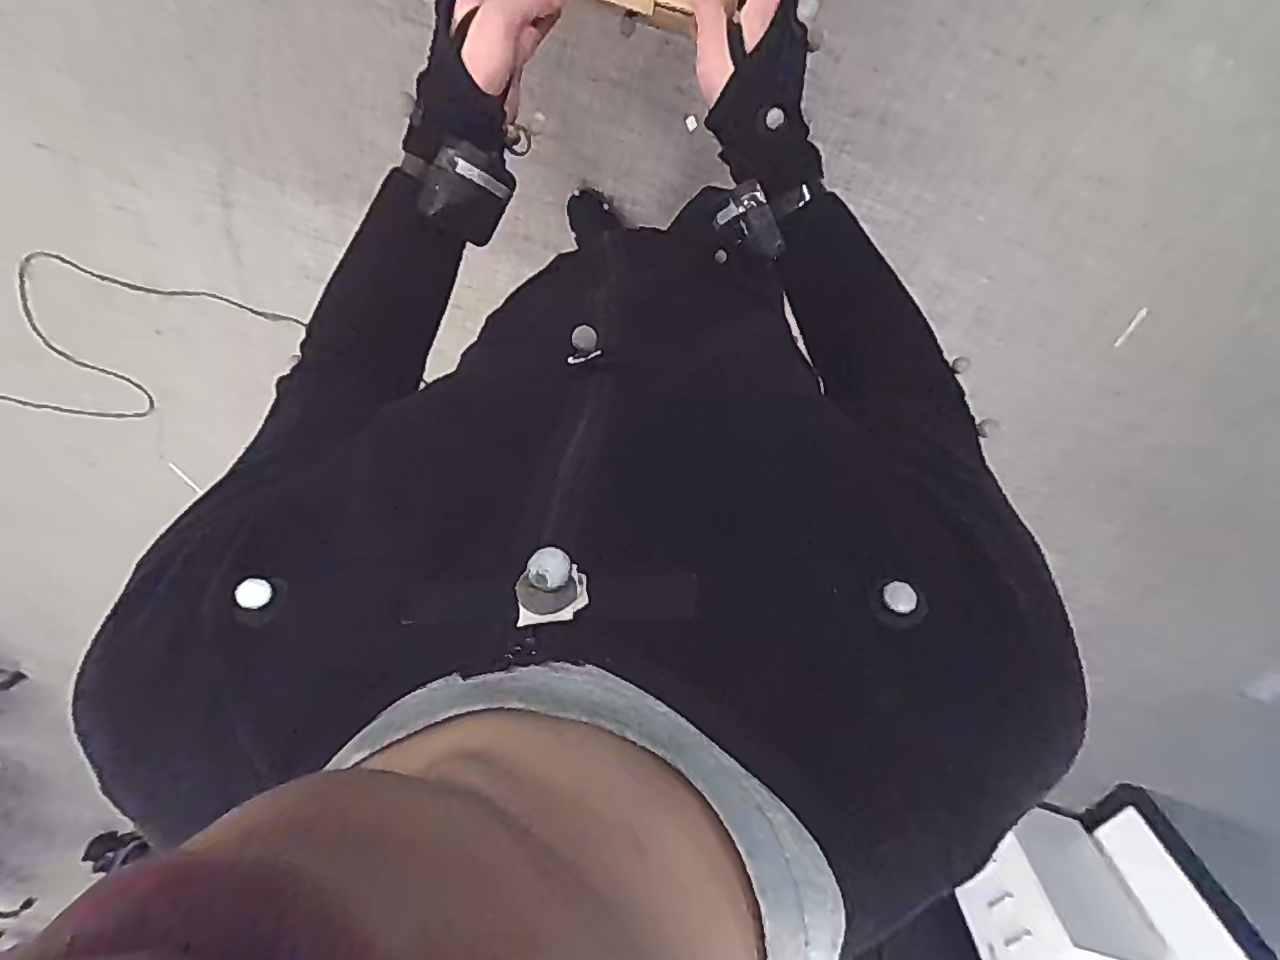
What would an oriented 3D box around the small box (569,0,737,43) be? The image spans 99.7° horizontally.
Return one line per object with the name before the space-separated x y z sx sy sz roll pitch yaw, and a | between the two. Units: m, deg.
small box | 0.013 -0.470 0.421 0.168 0.176 0.179 11 126 -6
